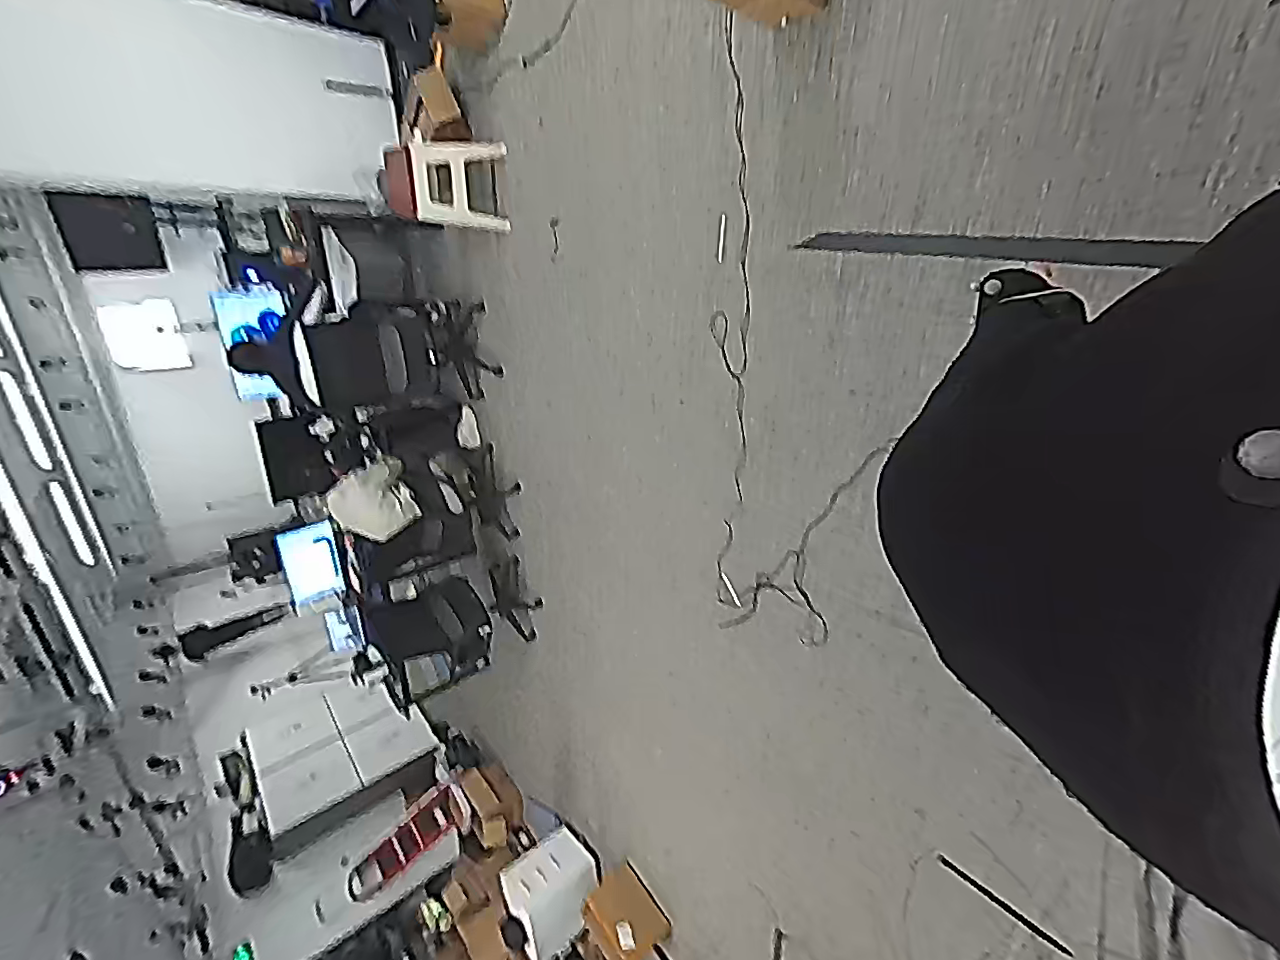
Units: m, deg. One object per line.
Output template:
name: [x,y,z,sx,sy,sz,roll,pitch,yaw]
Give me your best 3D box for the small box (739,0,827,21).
small box: [0.371,-1.307,1.361,0.168,0.176,0.179,23,122,44]
